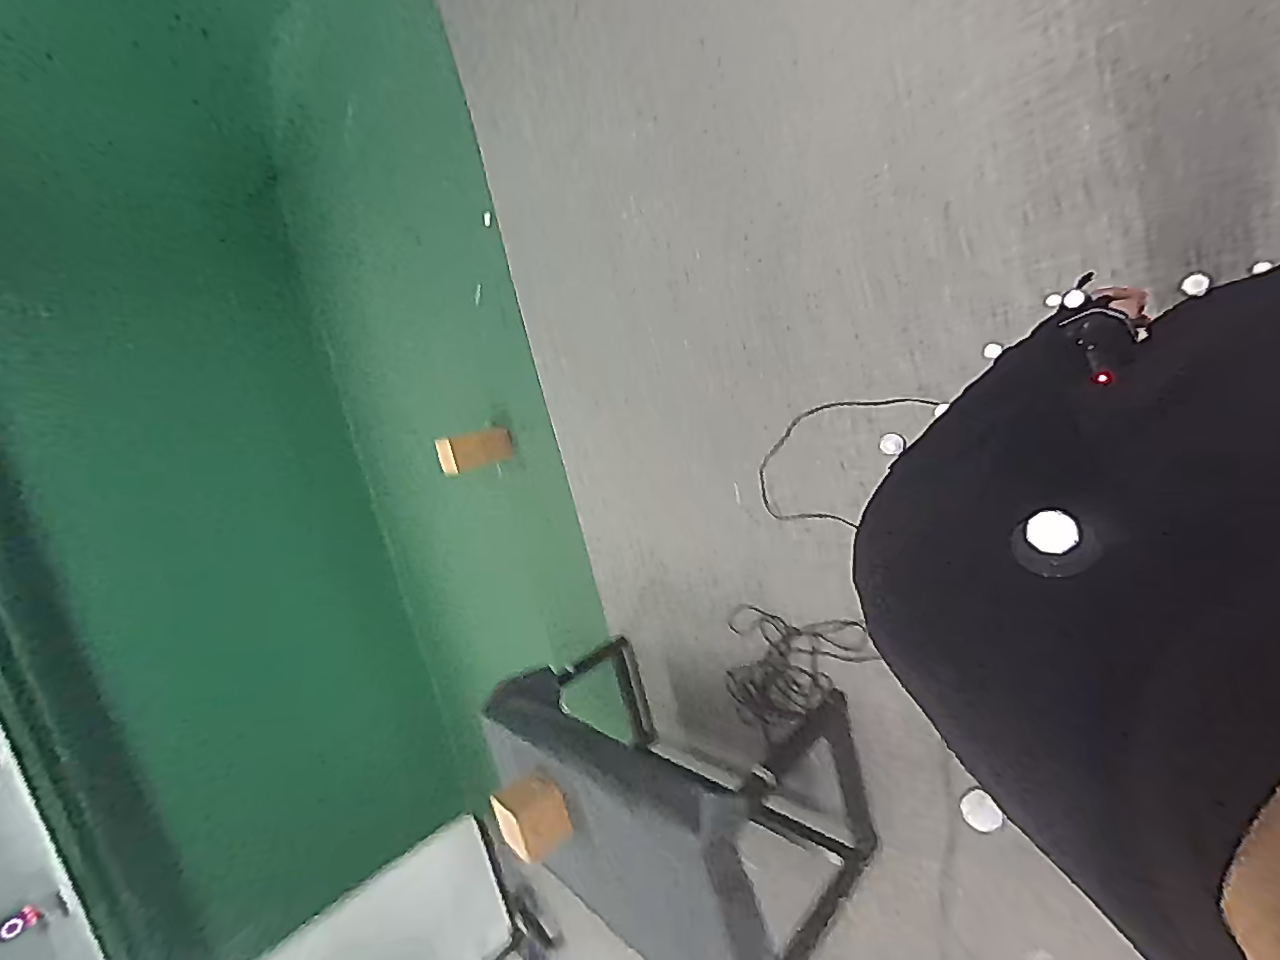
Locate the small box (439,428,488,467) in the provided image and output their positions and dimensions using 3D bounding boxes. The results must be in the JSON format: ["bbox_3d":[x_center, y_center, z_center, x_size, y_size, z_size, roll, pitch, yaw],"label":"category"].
[{"bbox_3d":[-0.900,-0.167,2.769,0.179,0.176,0.168,-2,105,49],"label":"small box"}]

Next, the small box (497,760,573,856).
[{"bbox_3d":[-0.344,1.079,1.793,0.168,0.176,0.179,-4,103,48],"label":"small box"}]
